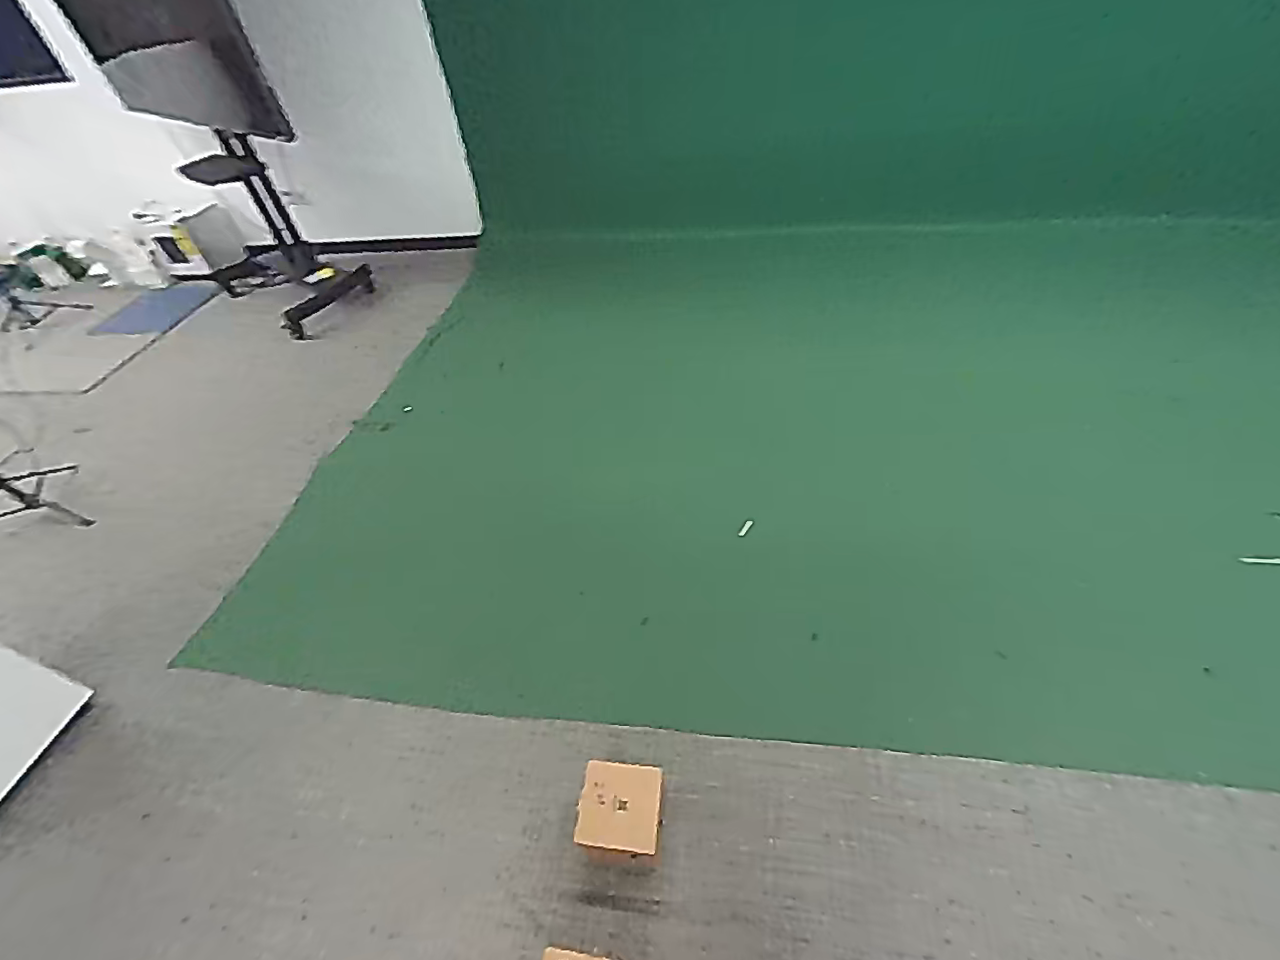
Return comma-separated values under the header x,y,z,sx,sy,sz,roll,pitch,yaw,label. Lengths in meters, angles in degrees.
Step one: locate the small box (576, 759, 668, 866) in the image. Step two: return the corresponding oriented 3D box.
x,y,z,sx,sy,sz,roll,pitch,yaw,label
-0.032,0.755,1.223,0.179,0.176,0.168,2,46,9,small box
